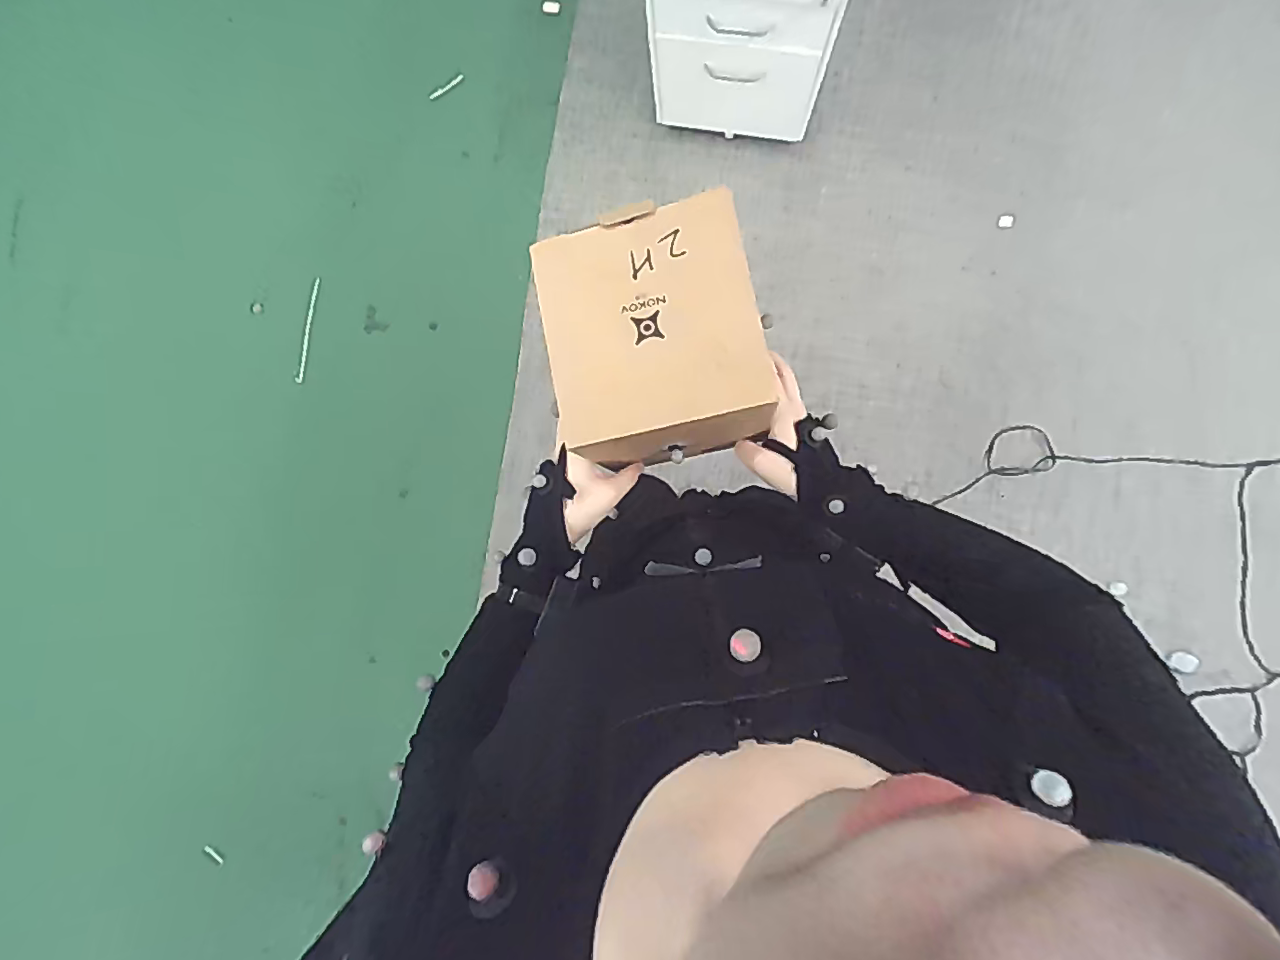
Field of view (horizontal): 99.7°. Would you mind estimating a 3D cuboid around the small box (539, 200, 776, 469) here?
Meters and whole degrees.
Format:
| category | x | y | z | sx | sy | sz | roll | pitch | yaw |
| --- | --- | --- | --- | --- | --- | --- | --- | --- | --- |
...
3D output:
| category | x | y | z | sx | sy | sz | roll | pitch | yaw |
| --- | --- | --- | --- | --- | --- | --- | --- | --- | --- |
| small box | 0.024 | -0.111 | 0.499 | 0.168 | 0.176 | 0.179 | -12 | 81 | 8 |
